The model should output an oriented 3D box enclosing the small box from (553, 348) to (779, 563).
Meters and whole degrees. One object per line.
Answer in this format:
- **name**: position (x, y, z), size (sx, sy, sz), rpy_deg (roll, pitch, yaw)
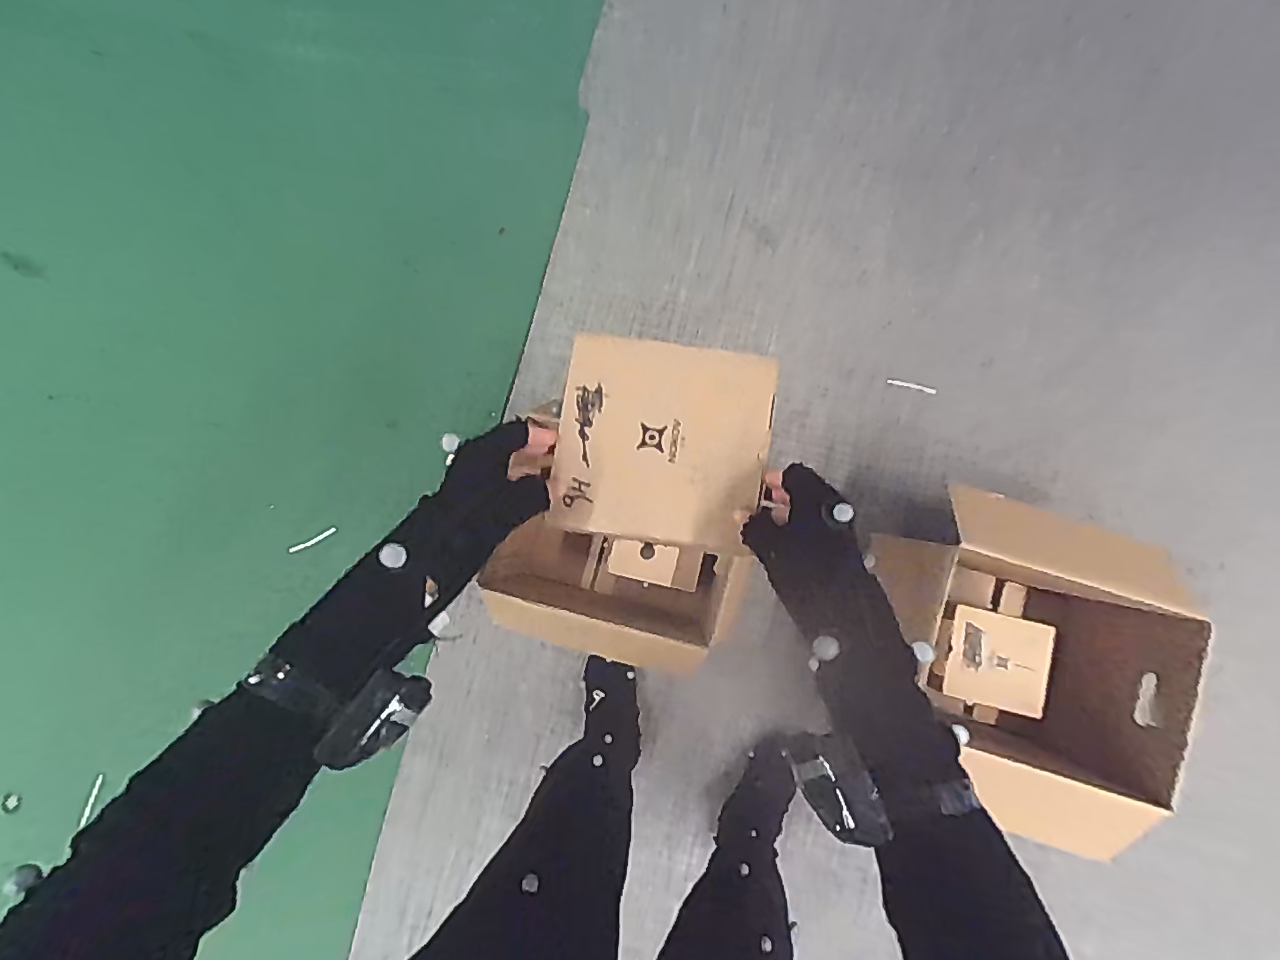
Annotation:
- **small box**: position (0.024, -0.013, 0.537), size (0.179, 0.176, 0.168), rpy_deg (8, 82, 2)
